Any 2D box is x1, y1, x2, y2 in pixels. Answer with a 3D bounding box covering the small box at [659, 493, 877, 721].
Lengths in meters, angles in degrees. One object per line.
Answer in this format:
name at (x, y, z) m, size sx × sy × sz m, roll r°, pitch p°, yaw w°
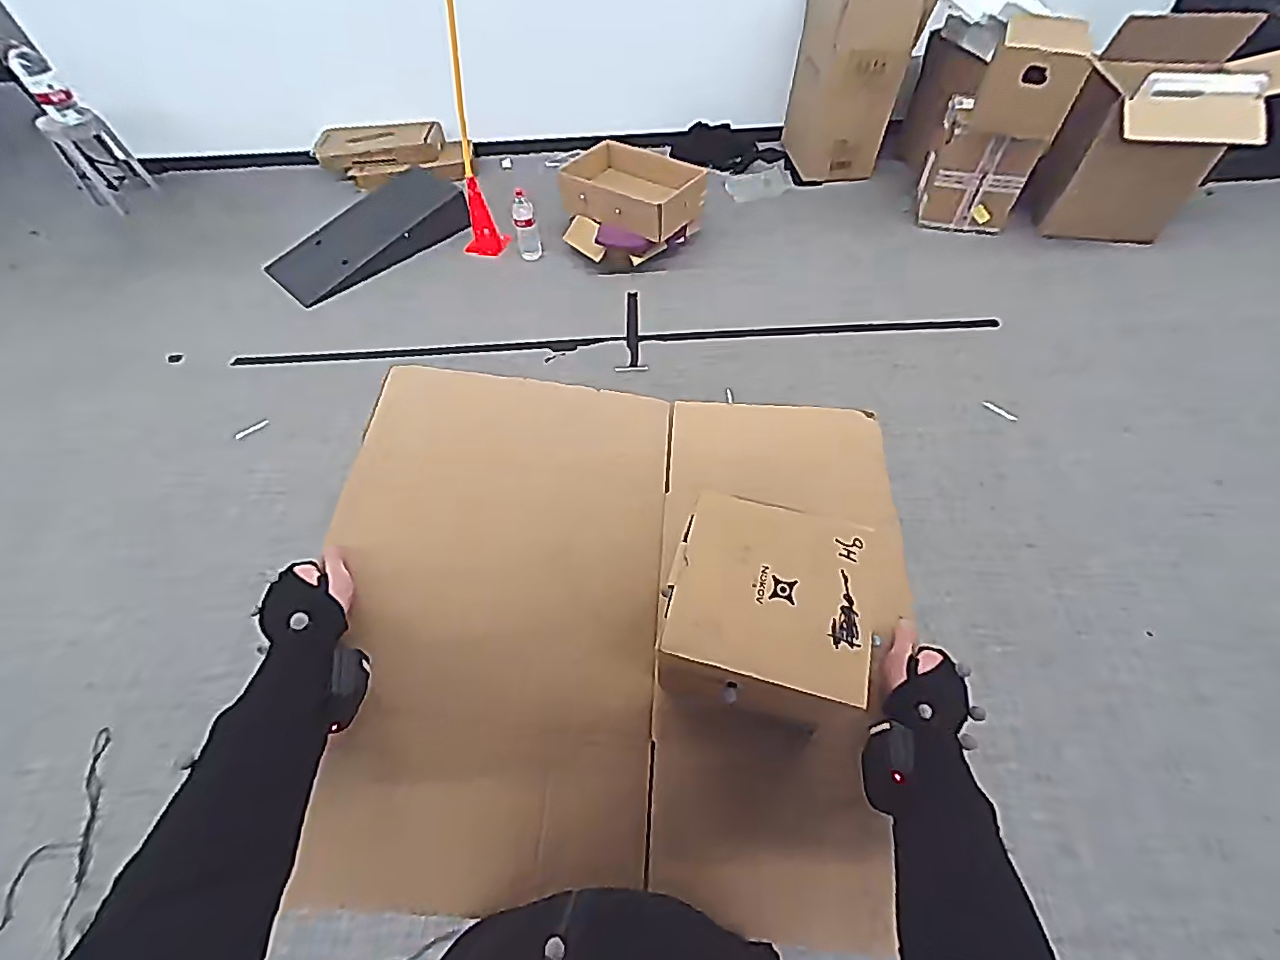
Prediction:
small box at (0.126, 0.138, 0.562) m, size 0.179 × 0.176 × 0.168 m, roll 12°, pitch 62°, yaw 11°
